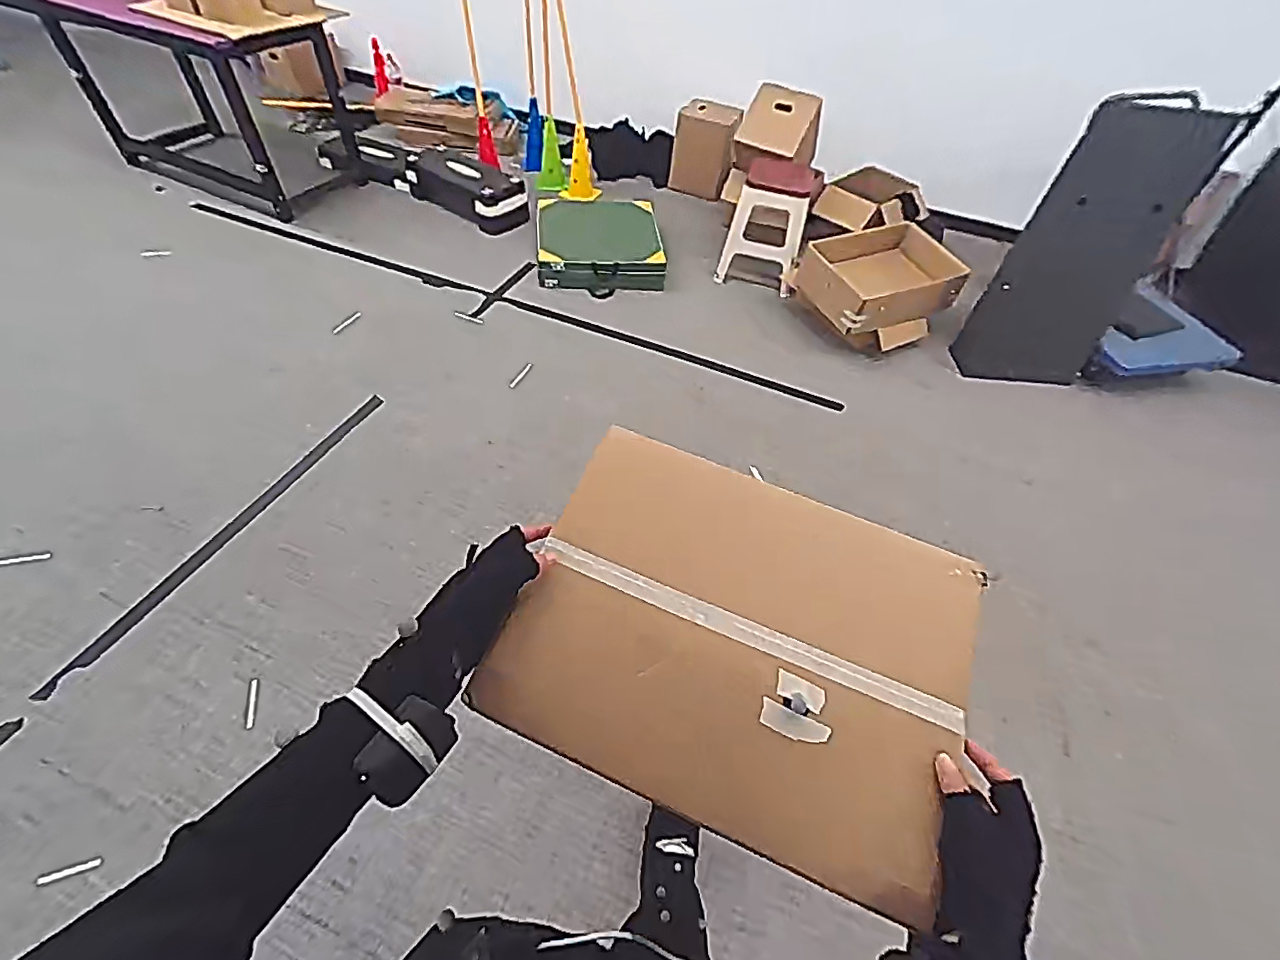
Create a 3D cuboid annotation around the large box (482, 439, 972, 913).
[{"bbox_3d":[0.091,0.213,0.645,0.408,0.320,0.320,22,65,9],"label":"large box"}]
